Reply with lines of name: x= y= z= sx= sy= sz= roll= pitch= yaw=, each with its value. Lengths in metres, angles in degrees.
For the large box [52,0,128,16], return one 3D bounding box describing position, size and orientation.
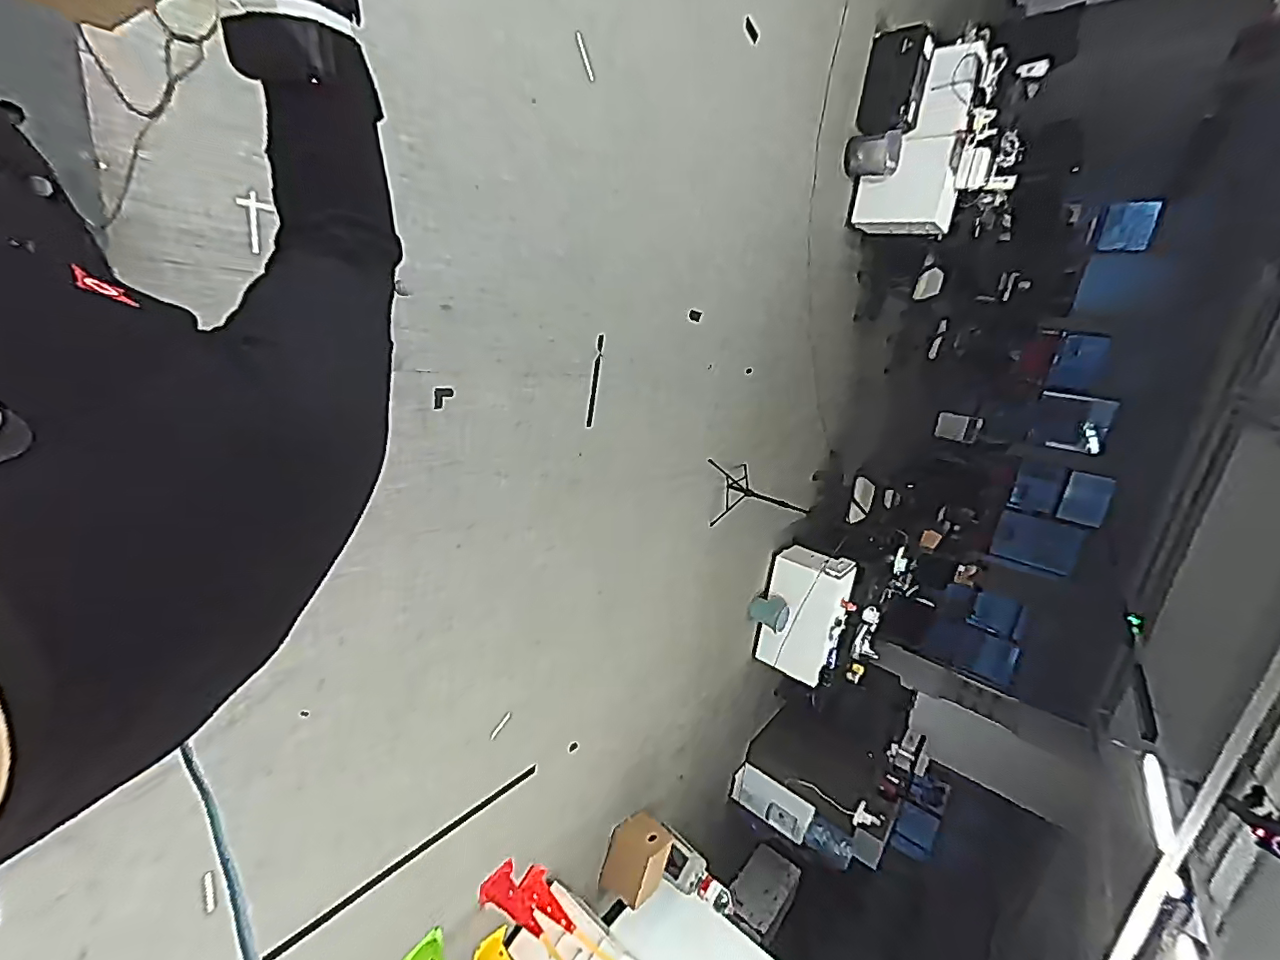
large box: x=-0.474 y=-0.485 z=0.217 sx=0.408 sy=0.320 sz=0.320 roll=-13 pitch=121 yaw=-51
